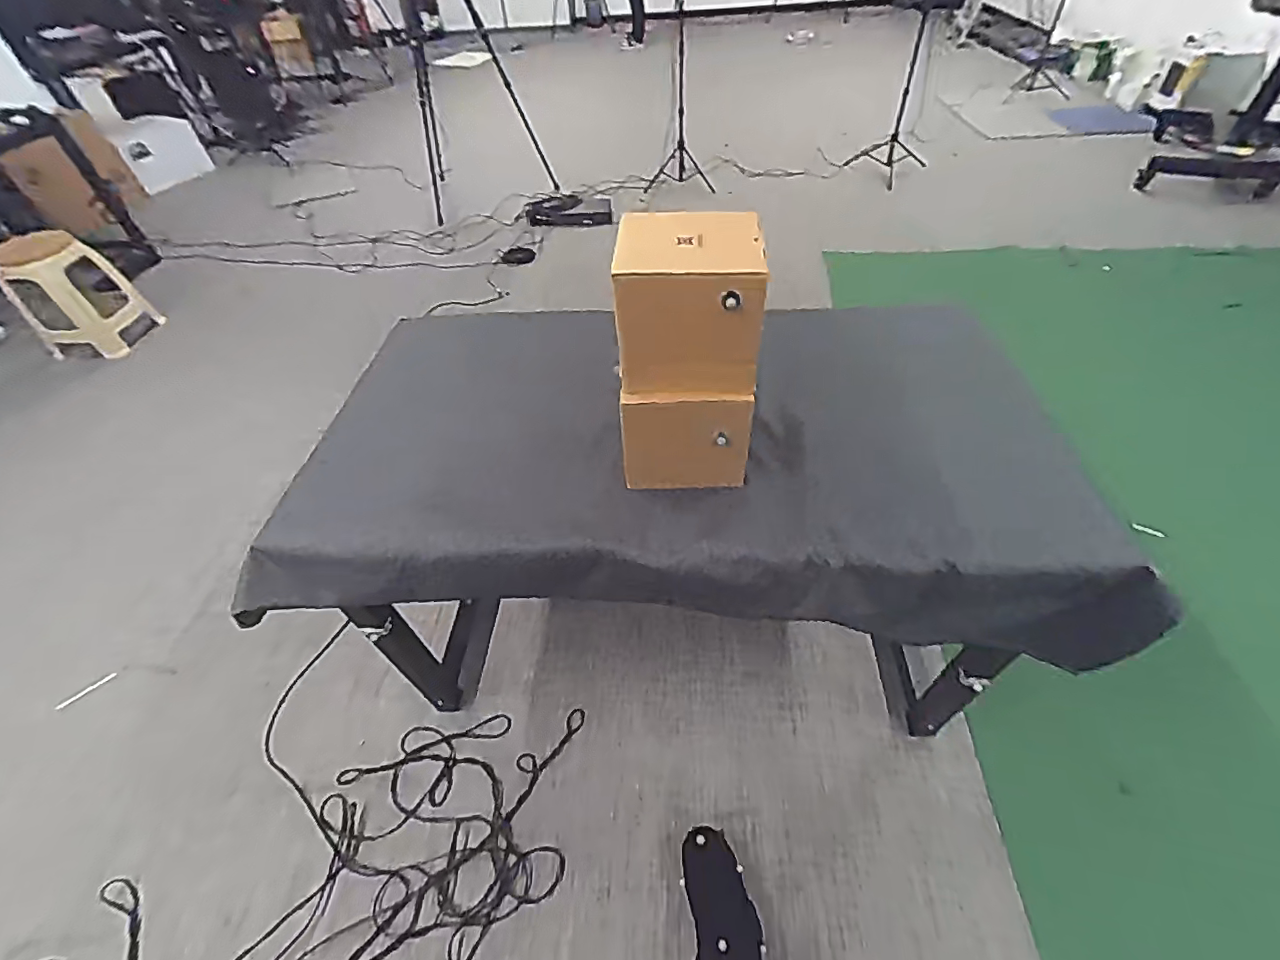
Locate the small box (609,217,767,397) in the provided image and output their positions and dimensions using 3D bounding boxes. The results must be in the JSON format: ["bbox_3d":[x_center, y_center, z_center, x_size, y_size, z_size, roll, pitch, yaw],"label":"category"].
[{"bbox_3d":[0.060,-0.221,0.701,0.179,0.176,0.168,1,47,4],"label":"small box"}]
